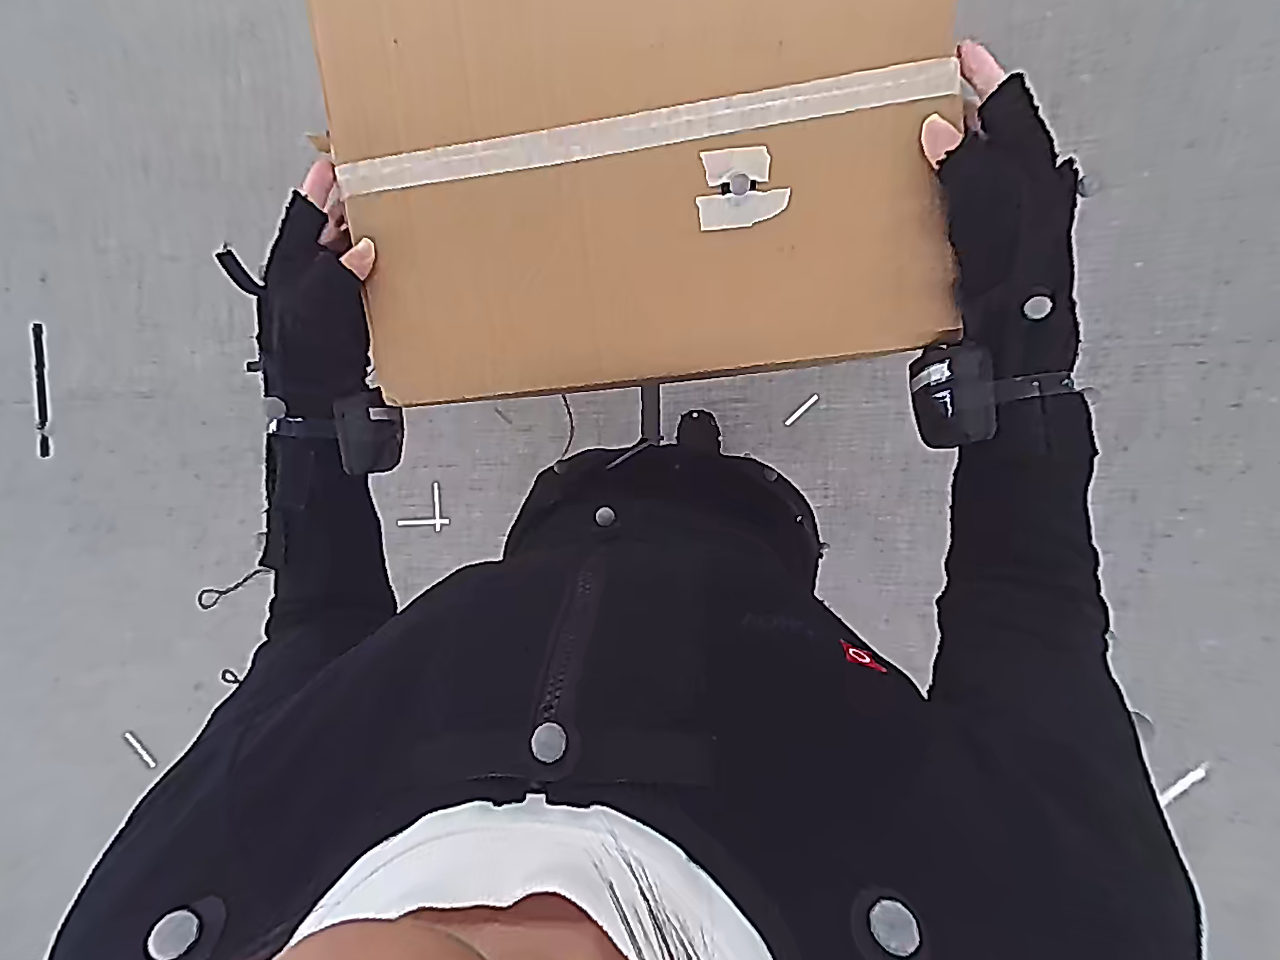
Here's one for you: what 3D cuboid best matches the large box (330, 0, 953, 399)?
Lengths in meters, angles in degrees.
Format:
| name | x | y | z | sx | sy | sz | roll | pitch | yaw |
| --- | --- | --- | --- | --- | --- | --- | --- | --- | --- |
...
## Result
| name | x | y | z | sx | sy | sz | roll | pitch | yaw |
| --- | --- | --- | --- | --- | --- | --- | --- | --- | --- |
| large box | 0.010 | -0.258 | 0.512 | 0.408 | 0.320 | 0.320 | -6 | 100 | 6 |
